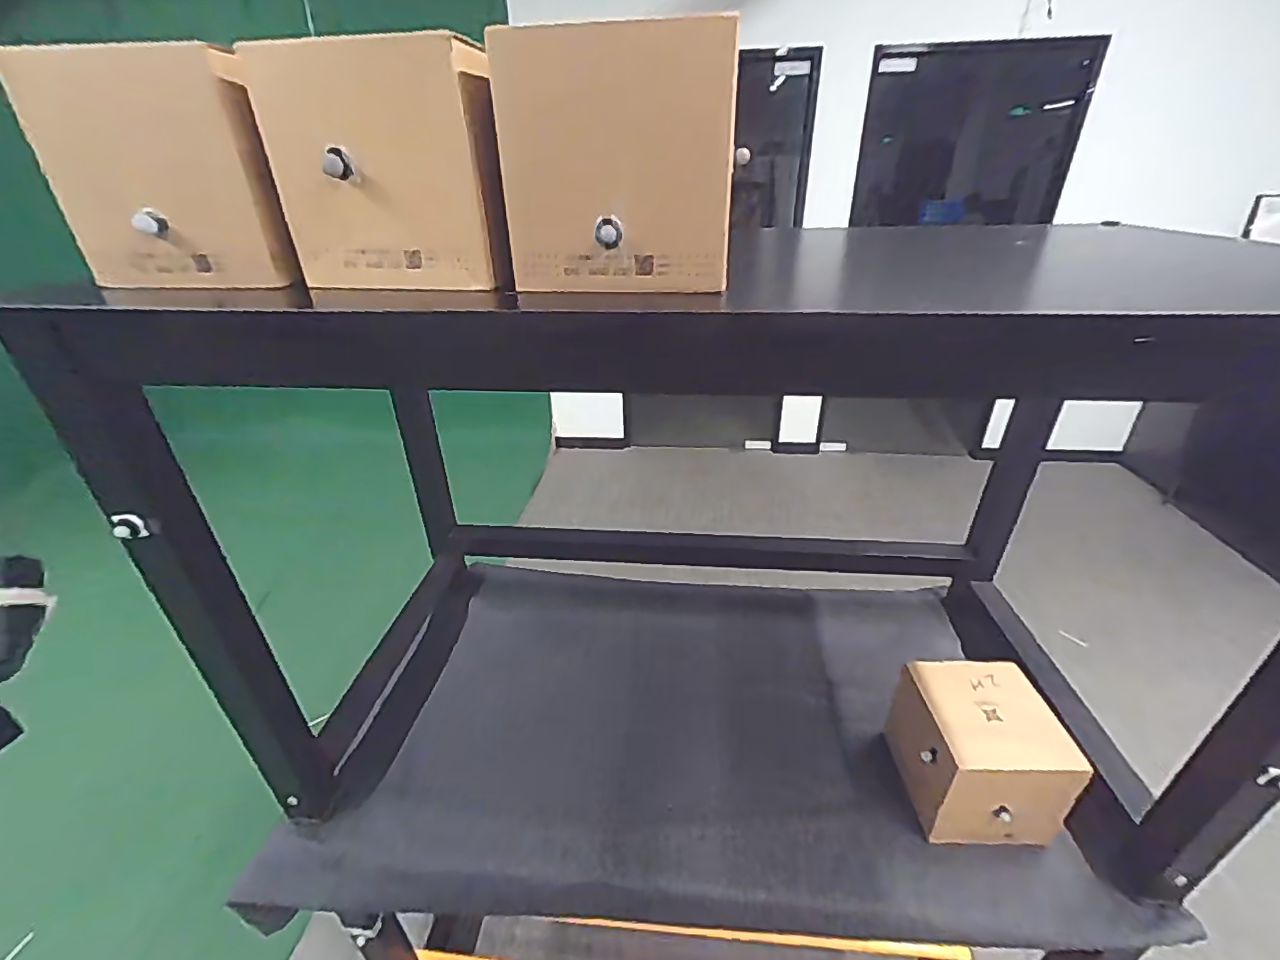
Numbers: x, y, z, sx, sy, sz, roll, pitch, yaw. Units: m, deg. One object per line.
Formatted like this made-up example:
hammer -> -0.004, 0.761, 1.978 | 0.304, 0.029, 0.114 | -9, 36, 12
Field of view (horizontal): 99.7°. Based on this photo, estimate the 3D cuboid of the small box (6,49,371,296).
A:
small box -> -0.374, -0.275, 0.497 | 0.168, 0.176, 0.179 | 2, 31, 4

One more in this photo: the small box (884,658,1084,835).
small box -> 0.479, 0.384, 0.787 | 0.168, 0.176, 0.179 | 0, 29, 2
